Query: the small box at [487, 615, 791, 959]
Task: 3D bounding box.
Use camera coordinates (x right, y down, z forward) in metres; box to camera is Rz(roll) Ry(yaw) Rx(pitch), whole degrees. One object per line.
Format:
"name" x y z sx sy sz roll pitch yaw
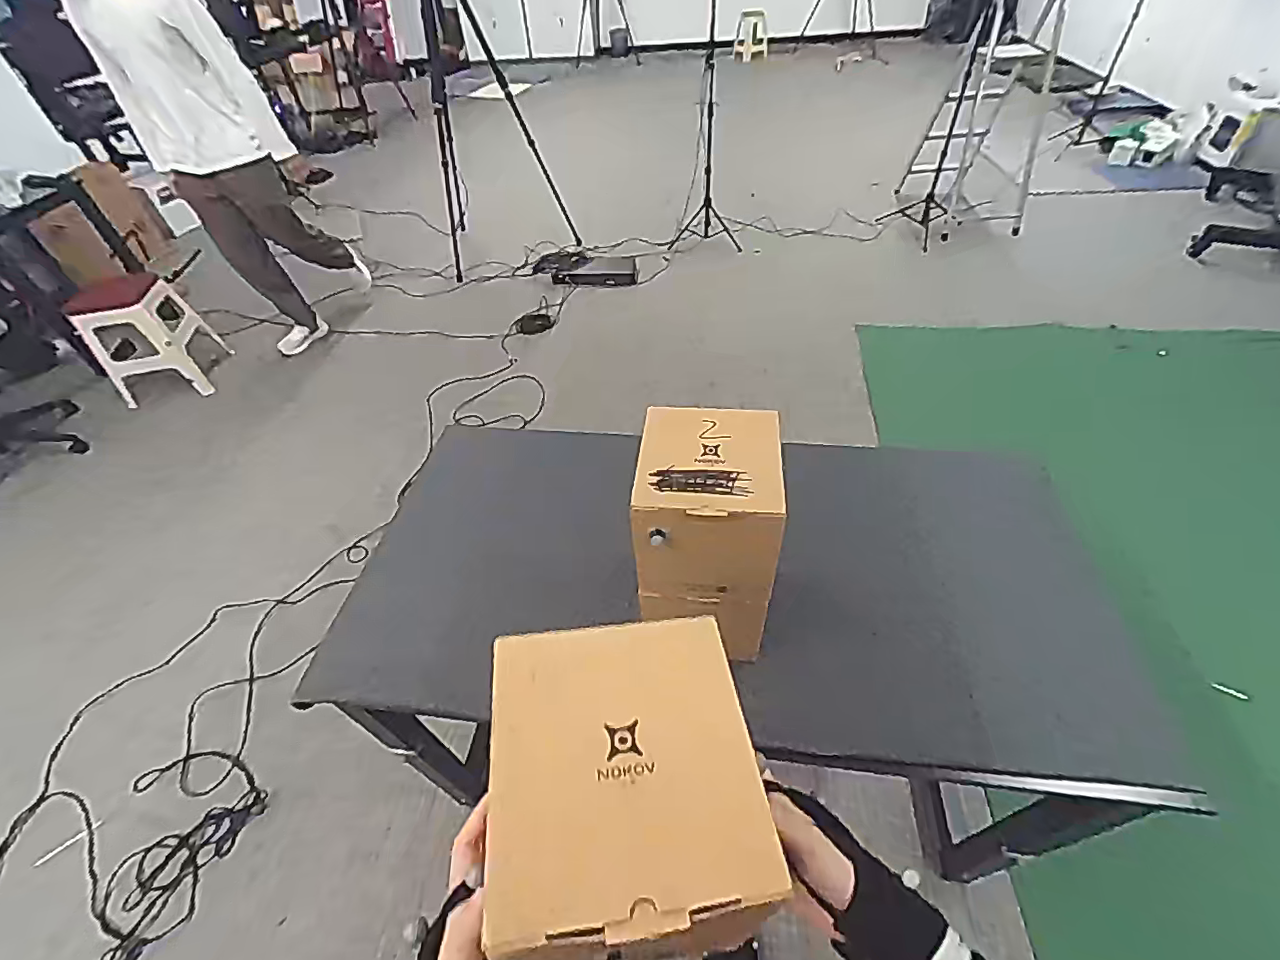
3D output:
"small box" -0.016 0.224 0.396 0.168 0.176 0.179 -3 44 -10

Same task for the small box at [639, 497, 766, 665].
"small box" 0.092 0.149 0.802 0.168 0.176 0.179 3 47 7
